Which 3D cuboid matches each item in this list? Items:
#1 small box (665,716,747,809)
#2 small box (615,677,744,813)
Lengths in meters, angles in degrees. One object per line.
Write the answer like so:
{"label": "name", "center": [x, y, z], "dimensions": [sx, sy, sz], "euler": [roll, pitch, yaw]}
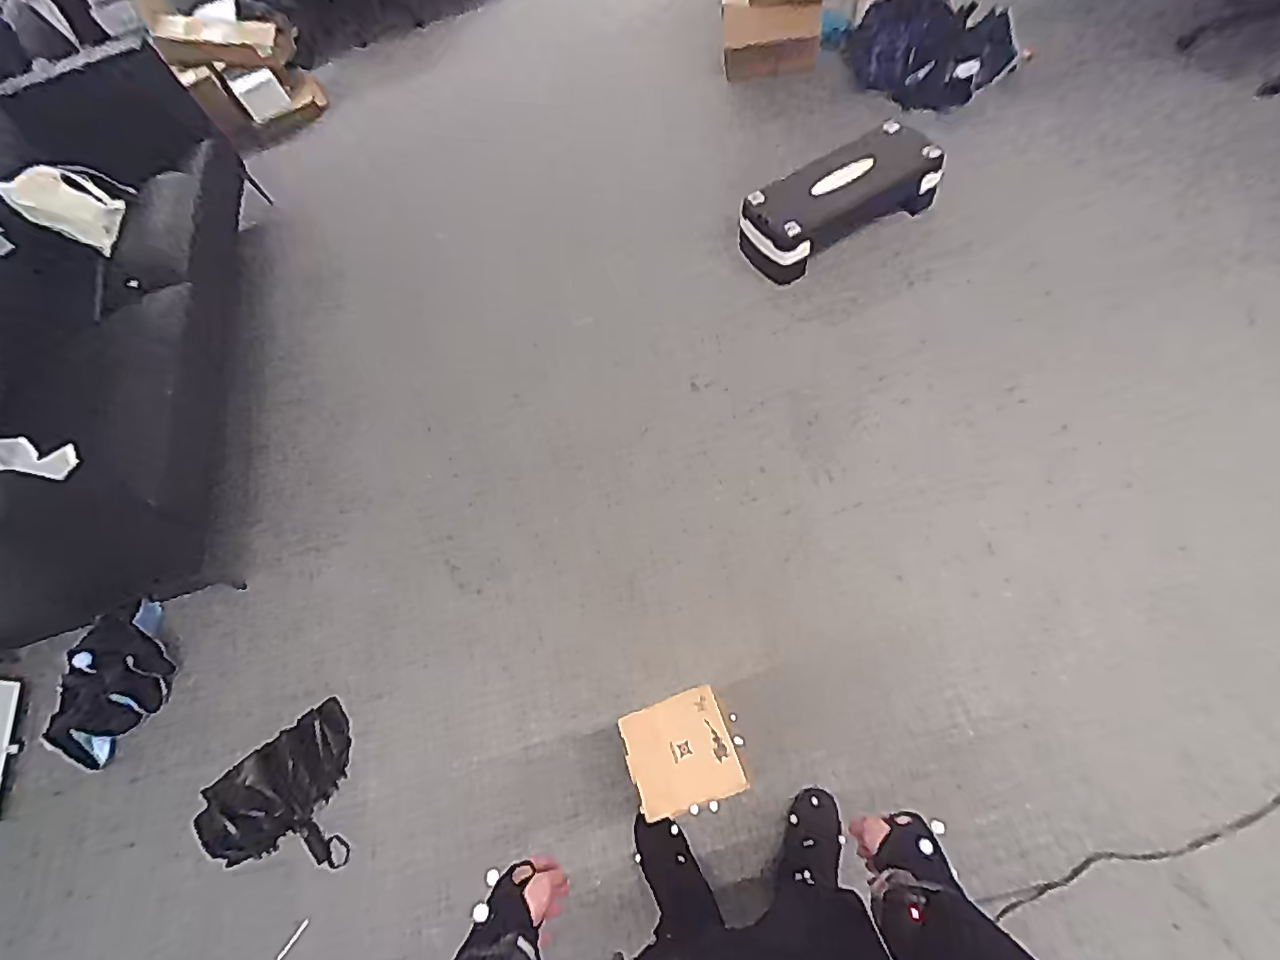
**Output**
{"label": "small box", "center": [0.113, 0.554, 1.119], "dimensions": [0.168, 0.176, 0.179], "euler": [-22, 62, 2]}
{"label": "small box", "center": [0.077, 0.477, 0.979], "dimensions": [0.179, 0.176, 0.168], "euler": [-23, 62, 2]}
